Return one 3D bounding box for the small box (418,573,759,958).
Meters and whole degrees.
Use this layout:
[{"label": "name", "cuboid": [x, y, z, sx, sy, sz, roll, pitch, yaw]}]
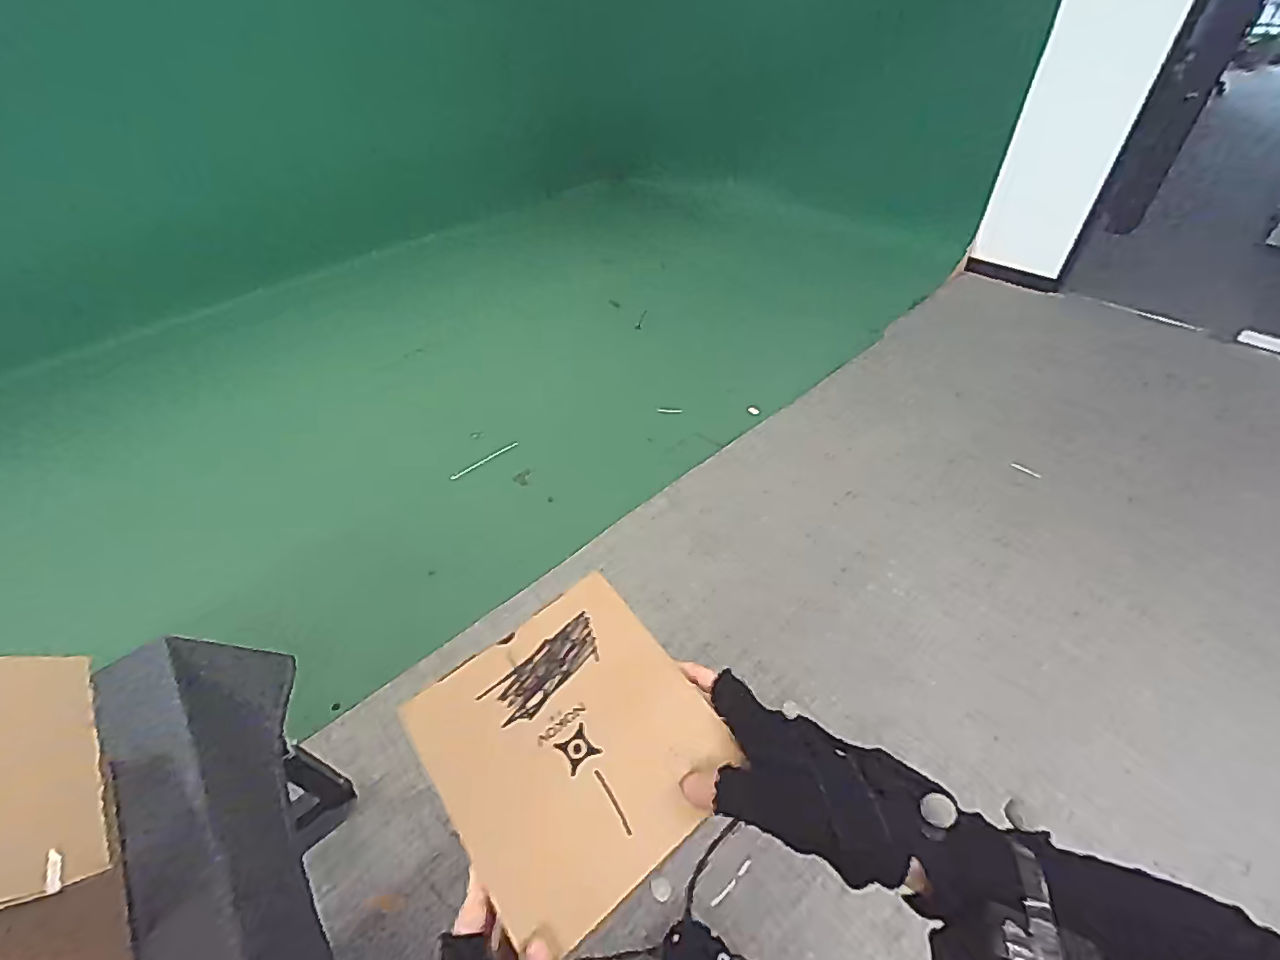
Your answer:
[{"label": "small box", "cuboid": [-0.038, 0.212, 0.419, 0.168, 0.176, 0.179, -31, 59, -20]}]
